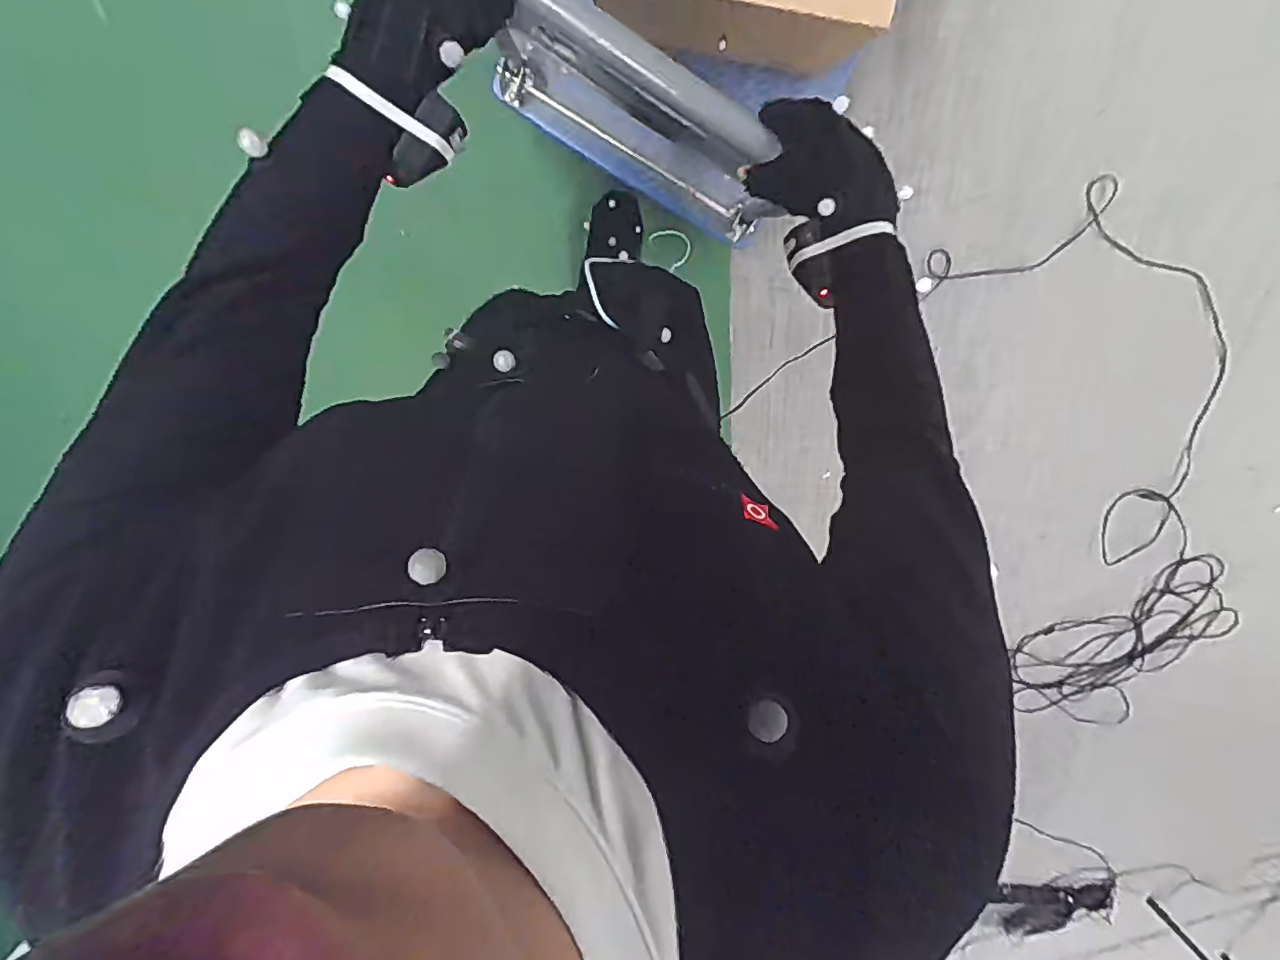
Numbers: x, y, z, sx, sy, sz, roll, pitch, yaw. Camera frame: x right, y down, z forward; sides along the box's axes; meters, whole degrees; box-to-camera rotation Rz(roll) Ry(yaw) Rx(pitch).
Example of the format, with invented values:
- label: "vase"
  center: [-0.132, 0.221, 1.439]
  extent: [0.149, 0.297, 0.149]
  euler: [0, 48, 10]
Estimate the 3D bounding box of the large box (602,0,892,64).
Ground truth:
- label: "large box"
  center: [0.158, -0.842, 0.775]
  extent: [0.408, 0.320, 0.320]
  euler: [8, 116, -3]
